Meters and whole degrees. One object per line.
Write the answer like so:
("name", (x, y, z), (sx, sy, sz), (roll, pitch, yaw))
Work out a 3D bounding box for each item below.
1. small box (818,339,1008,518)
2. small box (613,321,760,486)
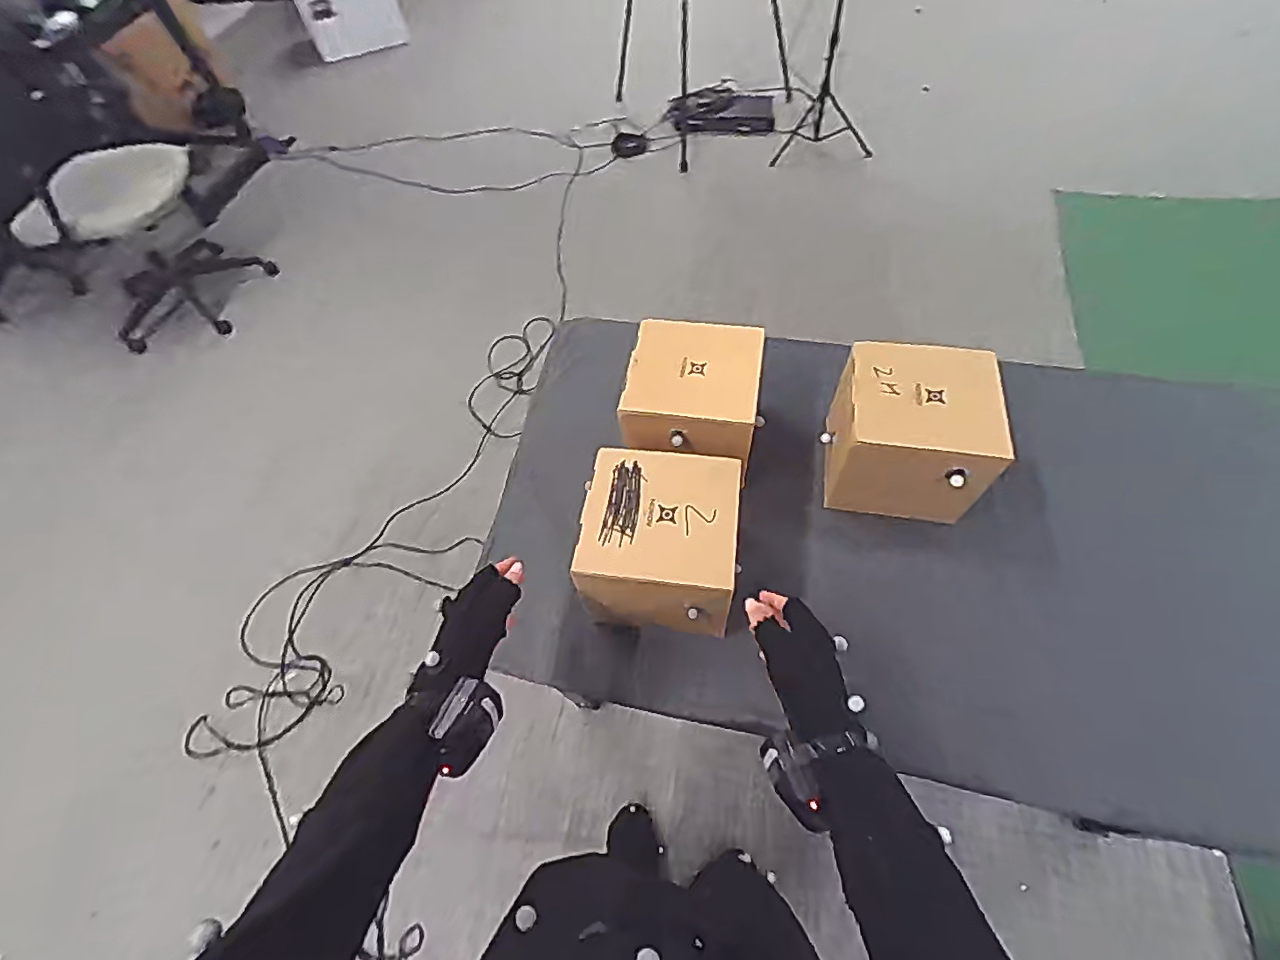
("small box", (0.349, -0.063, 0.724), (0.179, 0.176, 0.168), (7, 60, 10))
("small box", (0.071, -0.105, 0.782), (0.179, 0.176, 0.168), (6, 60, 10))
